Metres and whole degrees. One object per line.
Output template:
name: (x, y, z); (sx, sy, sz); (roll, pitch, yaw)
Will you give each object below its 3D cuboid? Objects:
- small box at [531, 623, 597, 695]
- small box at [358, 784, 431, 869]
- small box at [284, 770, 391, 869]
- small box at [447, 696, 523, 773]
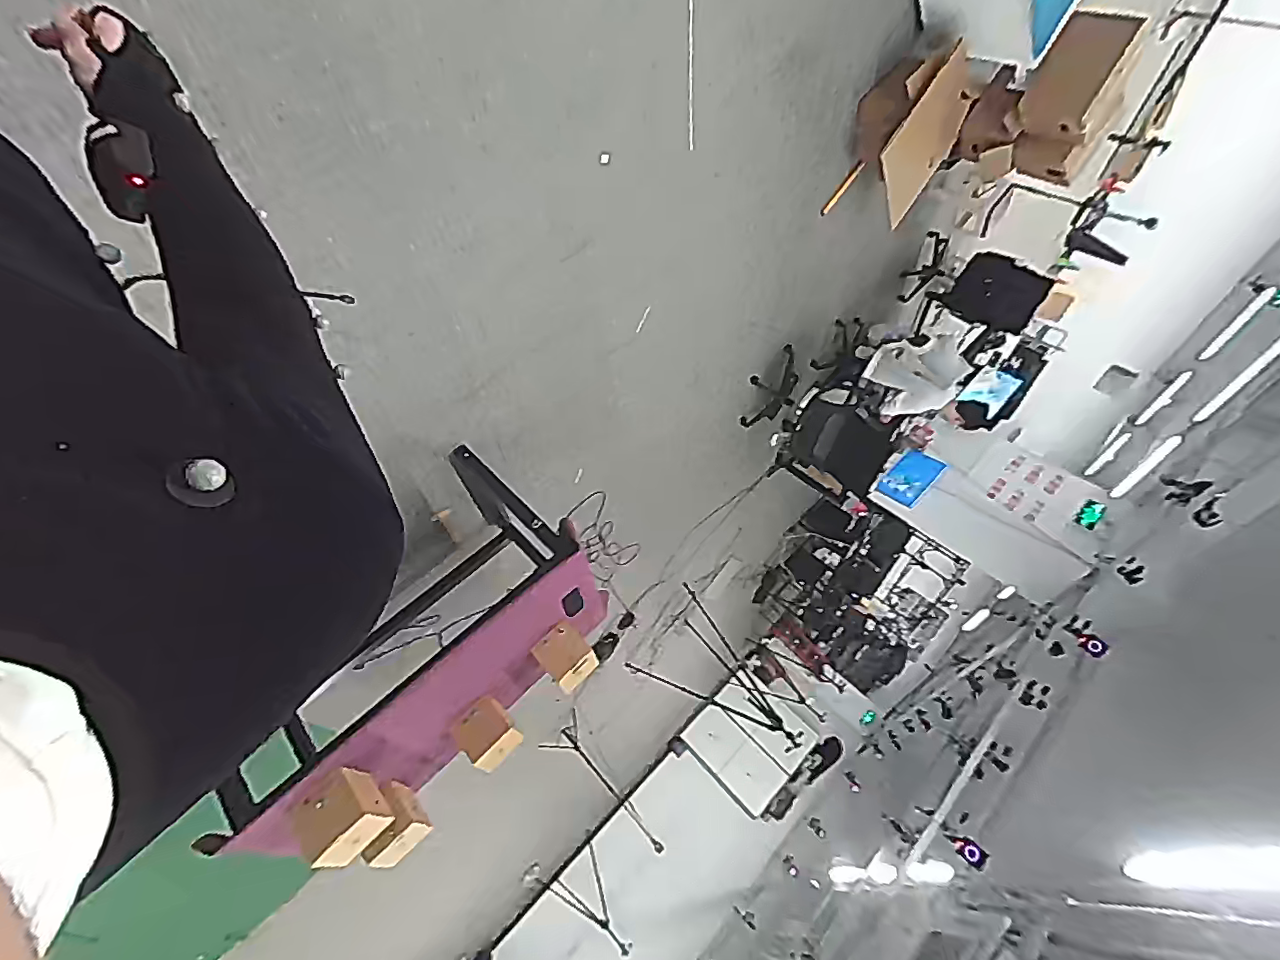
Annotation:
small box: (-0.284, 0.661, 2.012); (0.168, 0.176, 0.179); (-40, 151, -21)
small box: (-0.822, 1.125, 1.760); (0.168, 0.176, 0.179); (-40, 151, -23)
small box: (-0.840, 0.944, 1.509); (0.168, 0.176, 0.179); (-42, 151, -21)
small box: (-0.545, 0.893, 1.903); (0.168, 0.176, 0.179); (-41, 150, -21)
